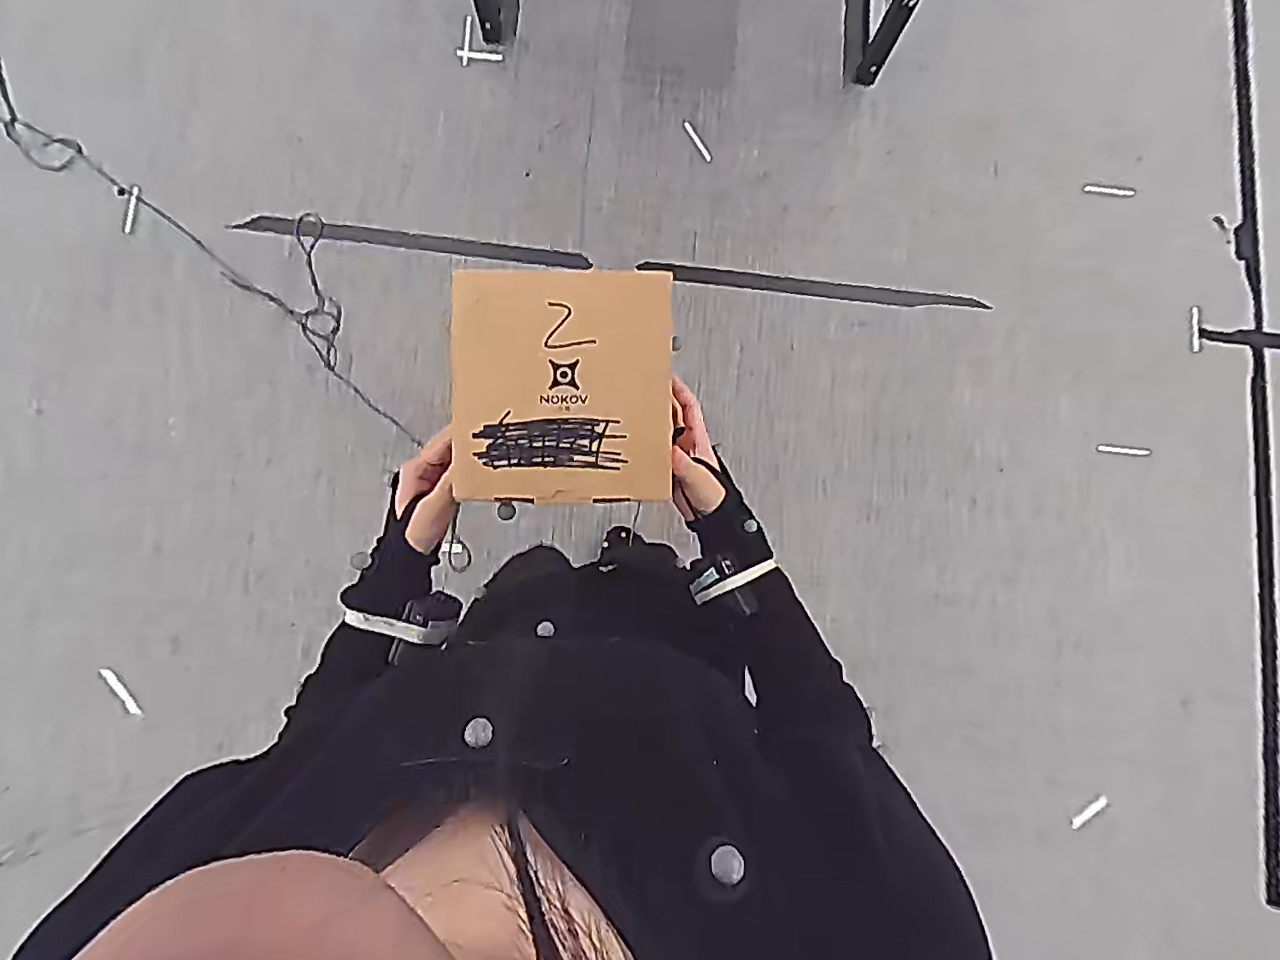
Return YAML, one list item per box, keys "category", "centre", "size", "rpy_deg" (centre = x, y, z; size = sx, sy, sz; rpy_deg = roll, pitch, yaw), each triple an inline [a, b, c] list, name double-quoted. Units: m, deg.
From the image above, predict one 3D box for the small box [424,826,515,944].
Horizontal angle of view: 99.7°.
- category: "small box"
  centre: [-0.407, 0.970, 1.309]
  size: [0.179, 0.176, 0.168]
  rpy_deg: [-2, 86, -4]

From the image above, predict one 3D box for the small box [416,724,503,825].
- category: "small box"
  centre: [-0.437, 0.712, 1.329]
  size: [0.168, 0.176, 0.179]
  rpy_deg: [0, 85, -3]
